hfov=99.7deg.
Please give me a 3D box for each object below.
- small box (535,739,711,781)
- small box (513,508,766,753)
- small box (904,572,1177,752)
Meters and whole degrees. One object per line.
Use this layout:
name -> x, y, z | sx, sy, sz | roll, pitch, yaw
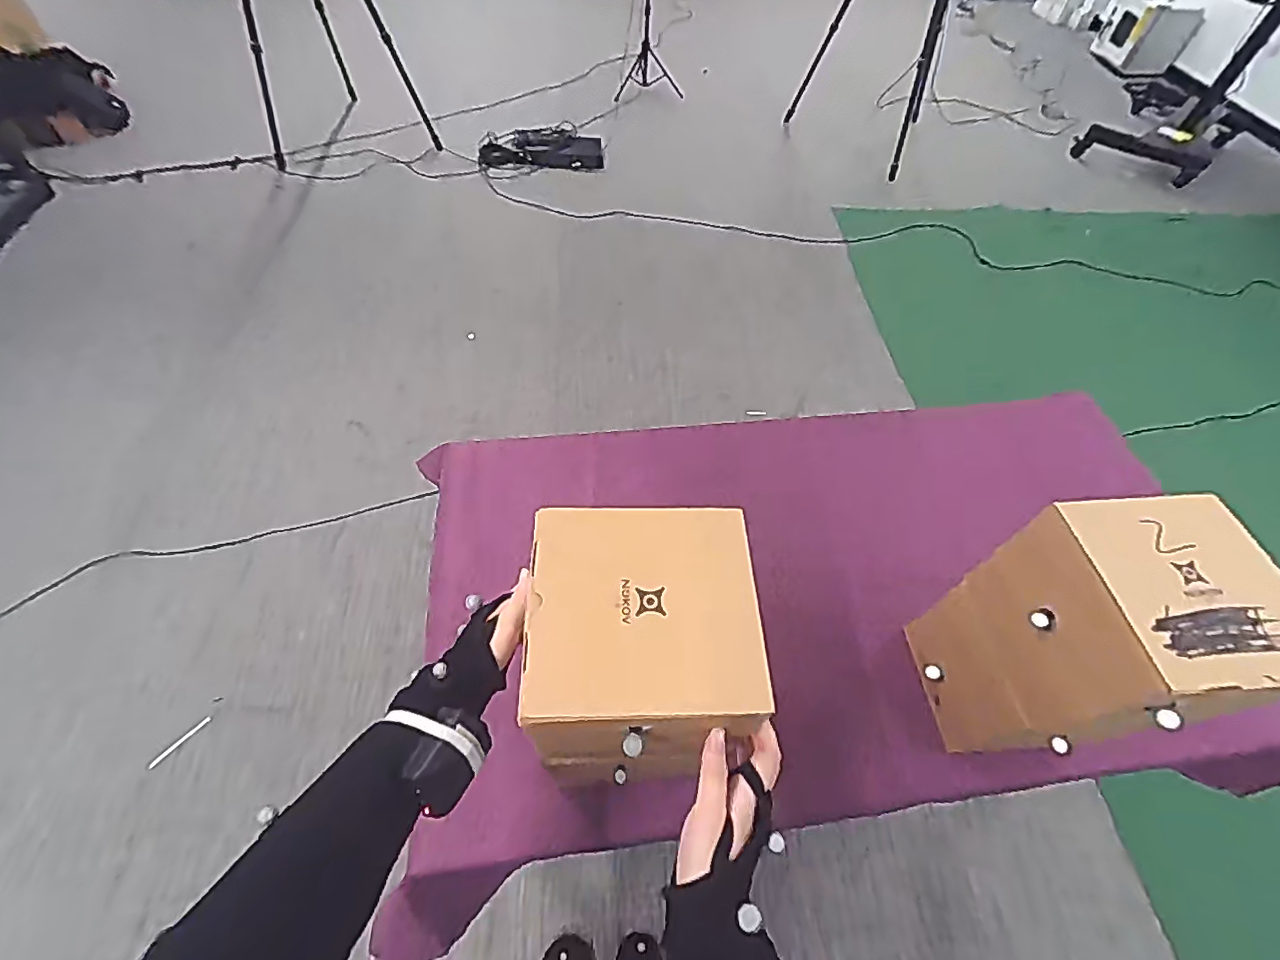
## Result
small box -> -0.020, 0.245, 0.629 | 0.179, 0.176, 0.168 | -2, 55, -4
small box -> -0.003, 0.137, 0.477 | 0.179, 0.176, 0.168 | -1, 55, -2
small box -> 0.464, 0.227, 0.663 | 0.179, 0.176, 0.168 | -3, 55, -3
